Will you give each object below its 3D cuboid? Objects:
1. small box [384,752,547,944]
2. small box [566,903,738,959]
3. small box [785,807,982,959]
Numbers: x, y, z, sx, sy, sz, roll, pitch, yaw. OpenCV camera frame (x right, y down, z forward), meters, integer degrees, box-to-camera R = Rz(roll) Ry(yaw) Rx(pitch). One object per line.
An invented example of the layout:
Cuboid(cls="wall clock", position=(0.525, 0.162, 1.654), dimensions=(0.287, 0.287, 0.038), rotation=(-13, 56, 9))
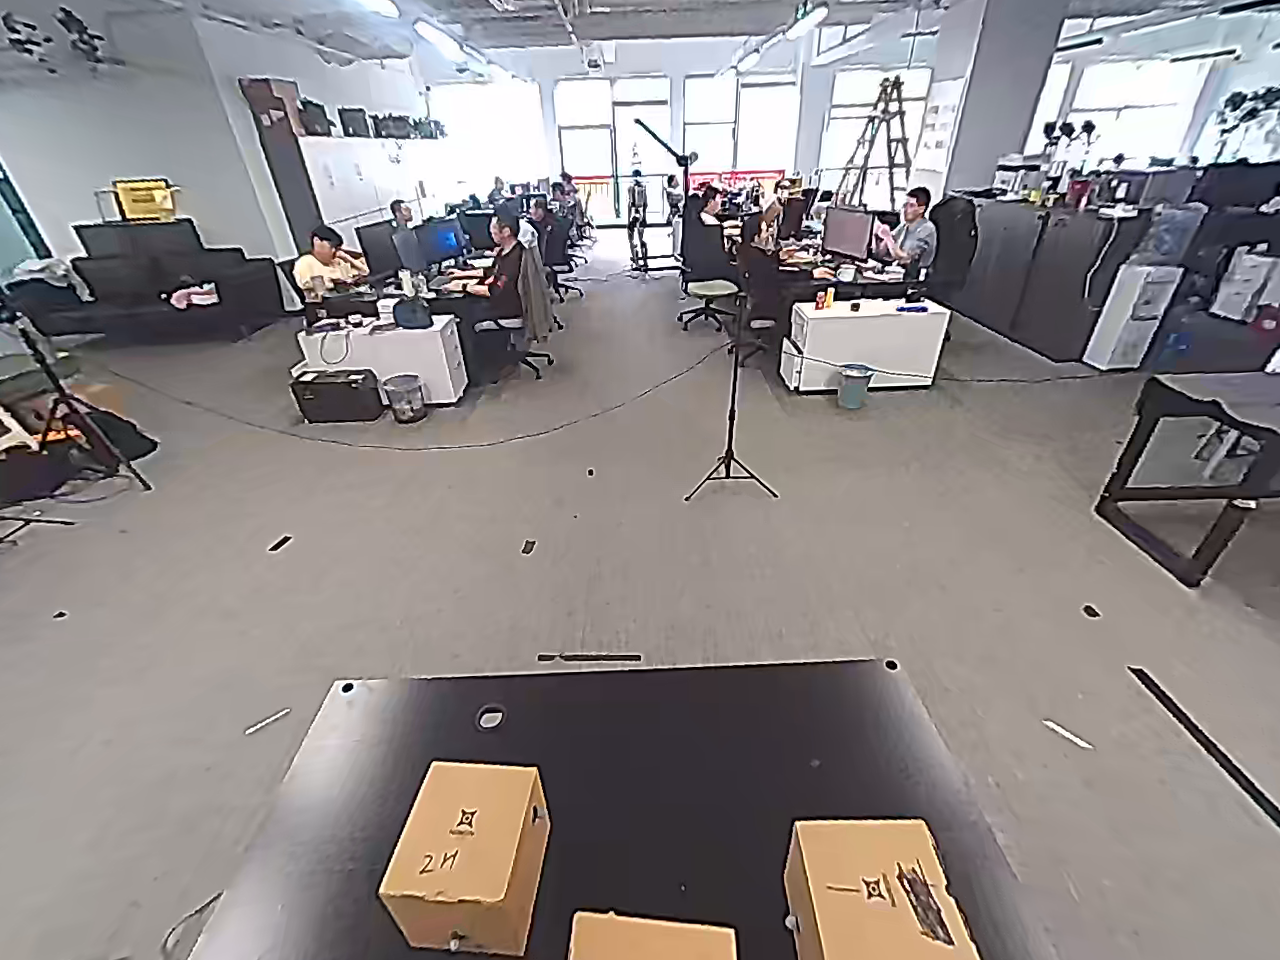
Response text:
Cuboid(cls="small box", position=(-0.238, 0.532, 0.790), dimensions=(0.168, 0.176, 0.179), rotation=(0, 32, 5))
Cuboid(cls="small box", position=(0.006, 0.573, 0.550), dimensions=(0.179, 0.176, 0.168), rotation=(4, 29, 2))
Cuboid(cls="small box", position=(0.299, 0.558, 0.710), dimensions=(0.179, 0.176, 0.168), rotation=(-2, 32, 2))
